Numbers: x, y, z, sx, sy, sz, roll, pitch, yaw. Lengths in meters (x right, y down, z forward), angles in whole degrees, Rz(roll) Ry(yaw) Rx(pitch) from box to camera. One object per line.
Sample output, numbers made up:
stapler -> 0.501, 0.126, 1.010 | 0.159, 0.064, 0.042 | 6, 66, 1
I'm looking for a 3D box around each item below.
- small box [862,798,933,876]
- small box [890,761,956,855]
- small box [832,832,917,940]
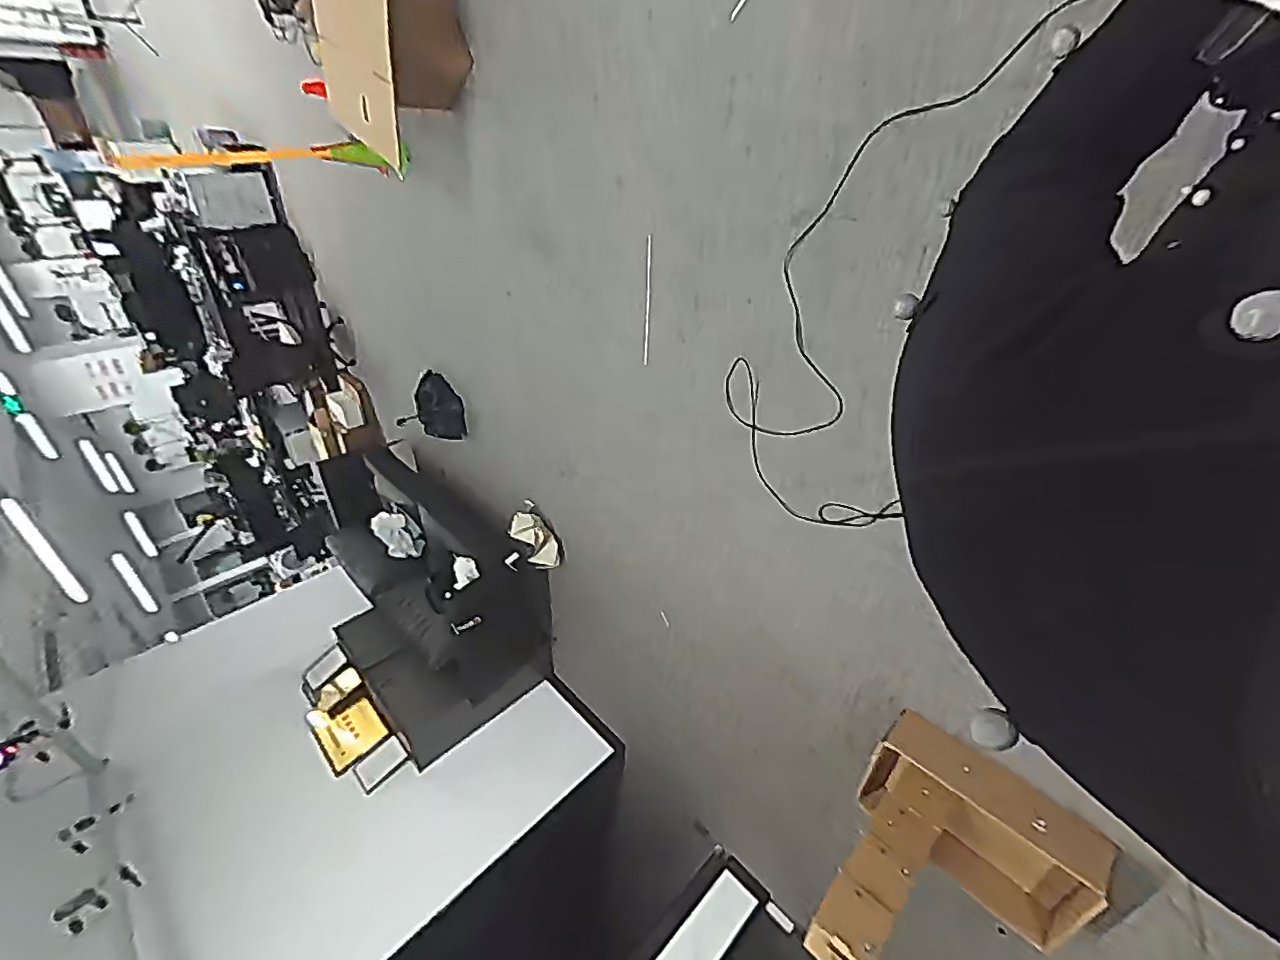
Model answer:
small box -> 0.812, 1.168, 1.729 | 0.168, 0.176, 0.179 | 28, 131, 35
small box -> 0.948, 1.103, 1.832 | 0.168, 0.176, 0.179 | 23, 129, 37
small box -> 0.711, 1.218, 1.634 | 0.168, 0.176, 0.179 | 30, 132, 35
